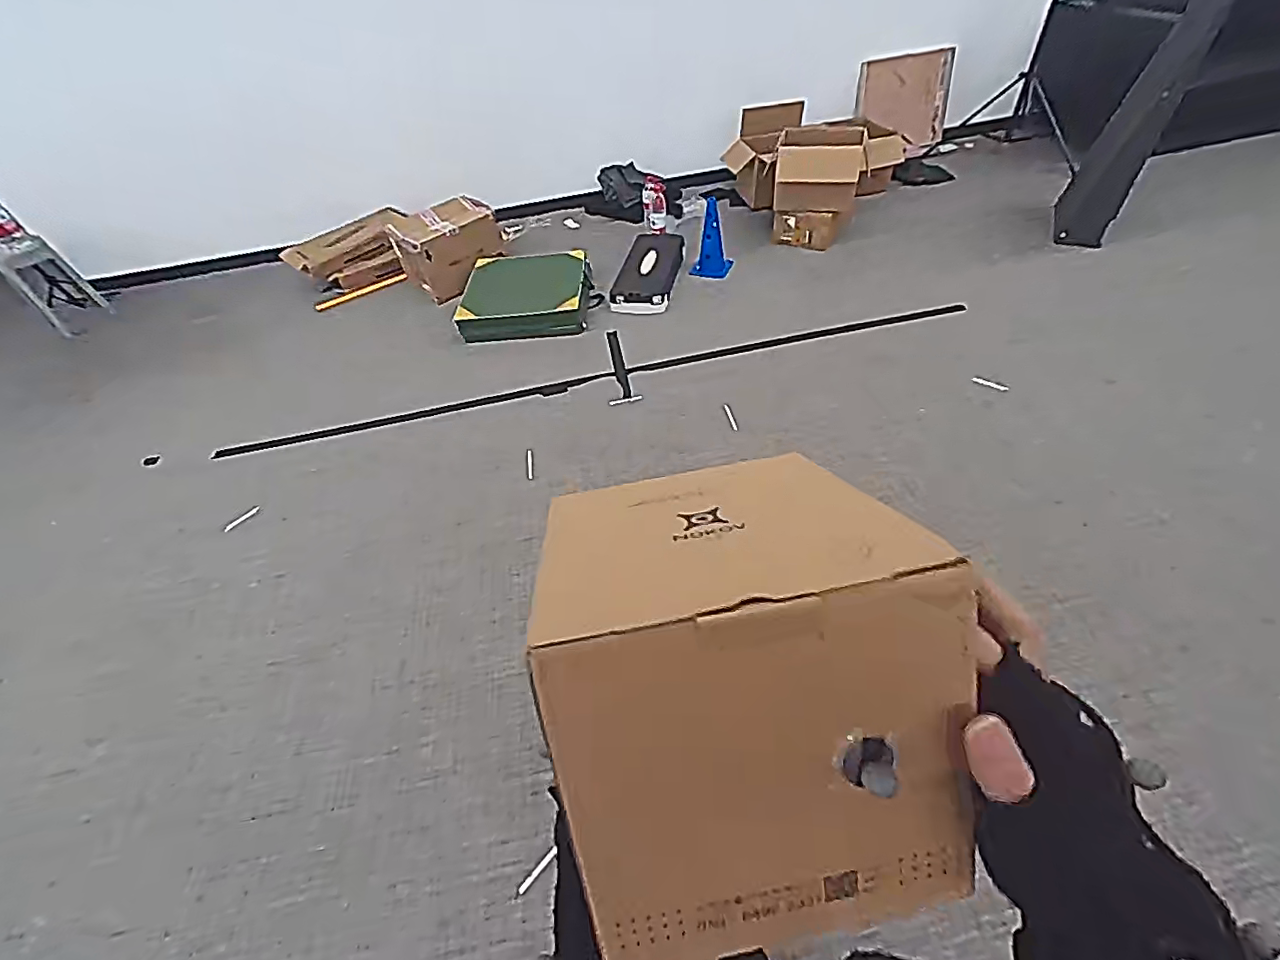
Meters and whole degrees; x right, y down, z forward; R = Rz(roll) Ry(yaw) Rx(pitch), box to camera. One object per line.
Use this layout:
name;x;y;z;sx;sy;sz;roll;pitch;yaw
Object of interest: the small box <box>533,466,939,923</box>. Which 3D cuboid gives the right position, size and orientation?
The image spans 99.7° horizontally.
small box;0.047;0.106;0.310;0.168;0.176;0.179;-11;15;-2
